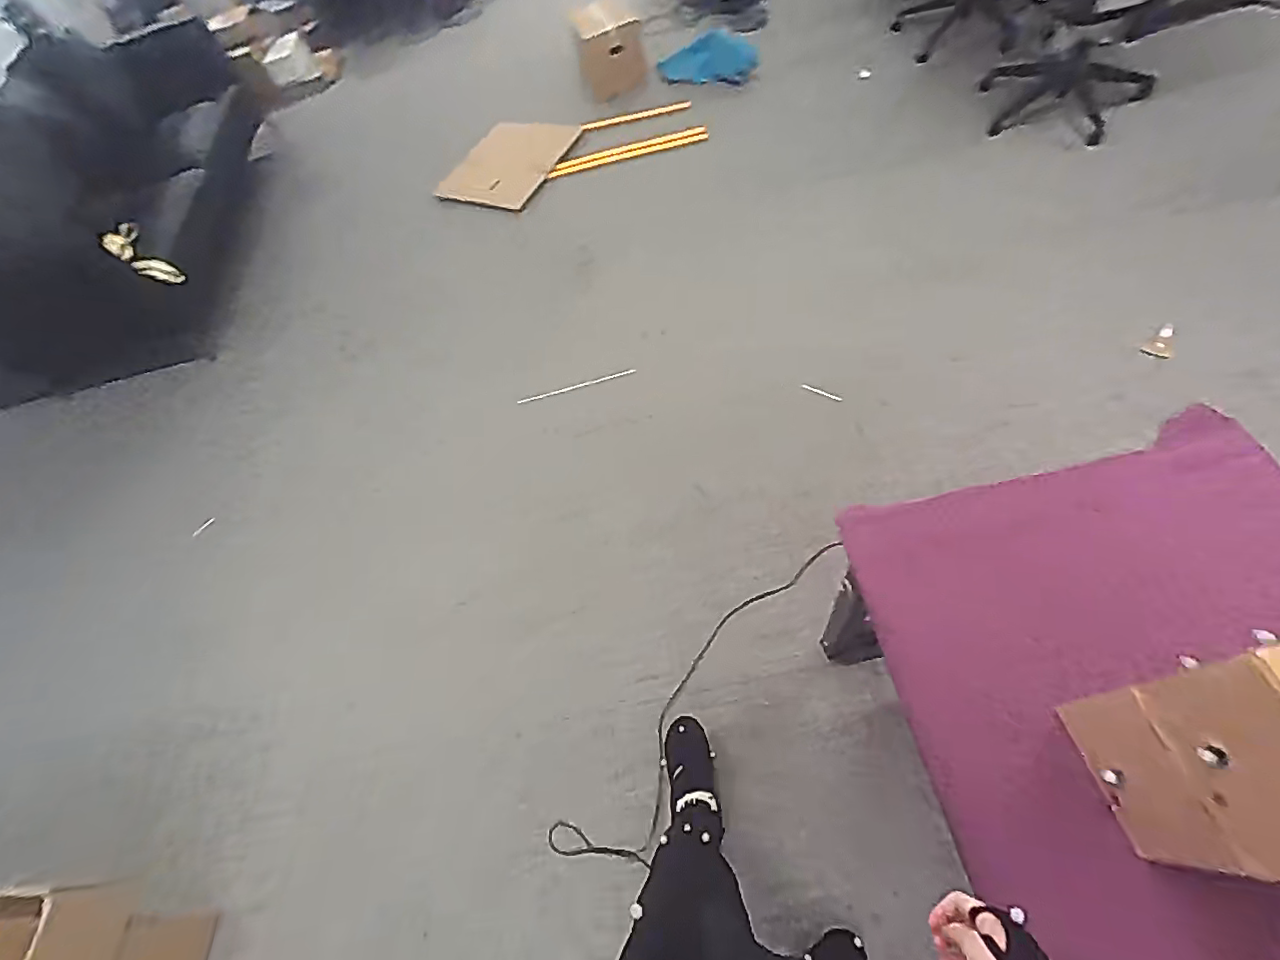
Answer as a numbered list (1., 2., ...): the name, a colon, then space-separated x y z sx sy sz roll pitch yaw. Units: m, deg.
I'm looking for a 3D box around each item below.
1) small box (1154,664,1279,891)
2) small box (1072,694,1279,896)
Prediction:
1. small box: 0.592 0.228 0.431 0.179 0.176 0.168 -15 59 4
2. small box: 0.620 0.309 0.569 0.179 0.176 0.168 -15 58 4
